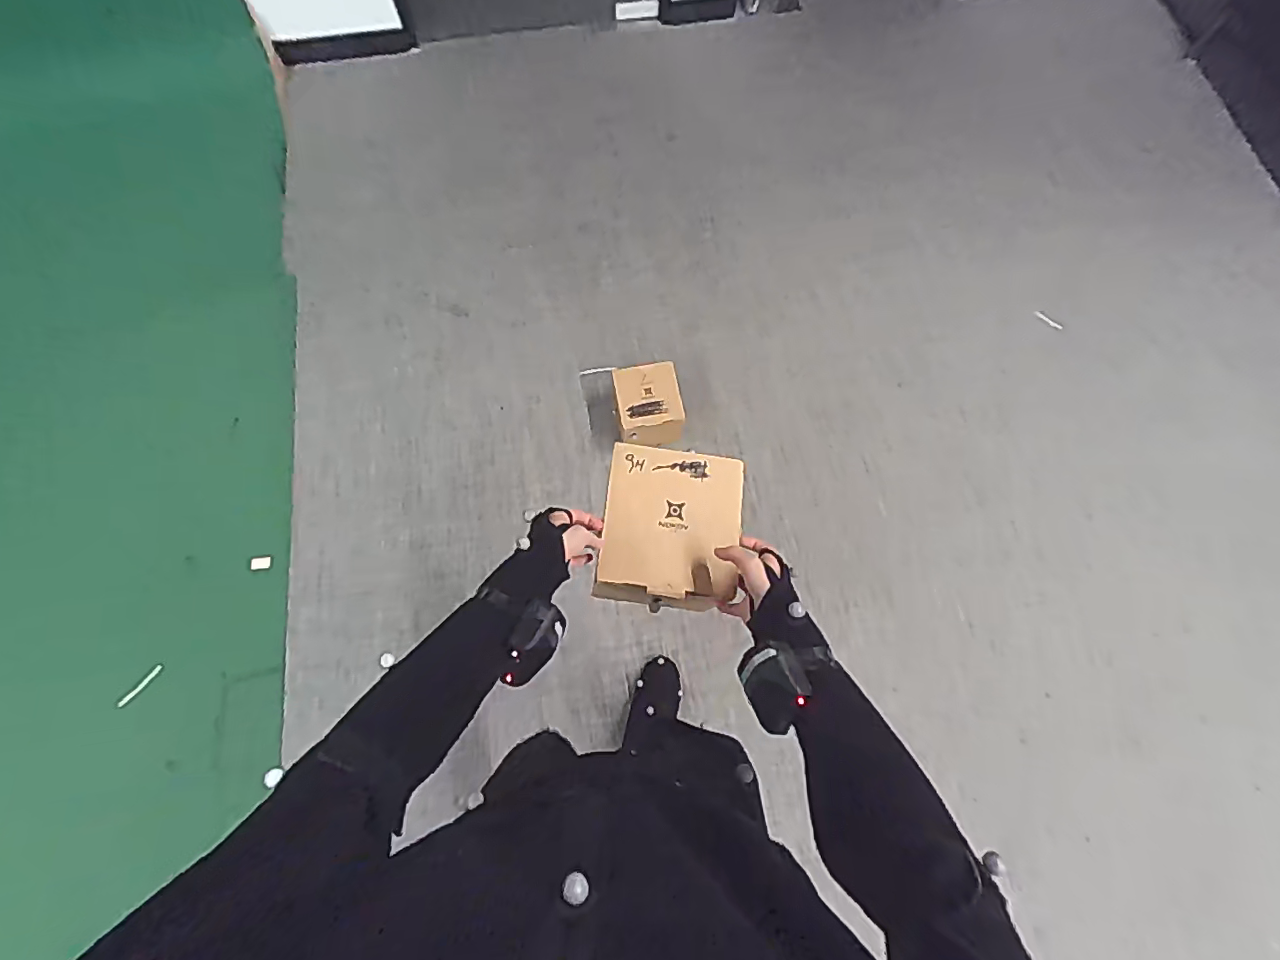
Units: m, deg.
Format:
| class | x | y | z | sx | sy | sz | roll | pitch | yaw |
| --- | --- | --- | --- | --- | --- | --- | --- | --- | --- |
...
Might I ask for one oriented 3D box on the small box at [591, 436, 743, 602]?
| class | x | y | z | sx | sy | sz | roll | pitch | yaw |
| --- | --- | --- | --- | --- | --- | --- | --- | --- | --- |
| small box | 0.029 | 0.062 | 0.715 | 0.168 | 0.176 | 0.179 | 8 | 72 | -4 |
